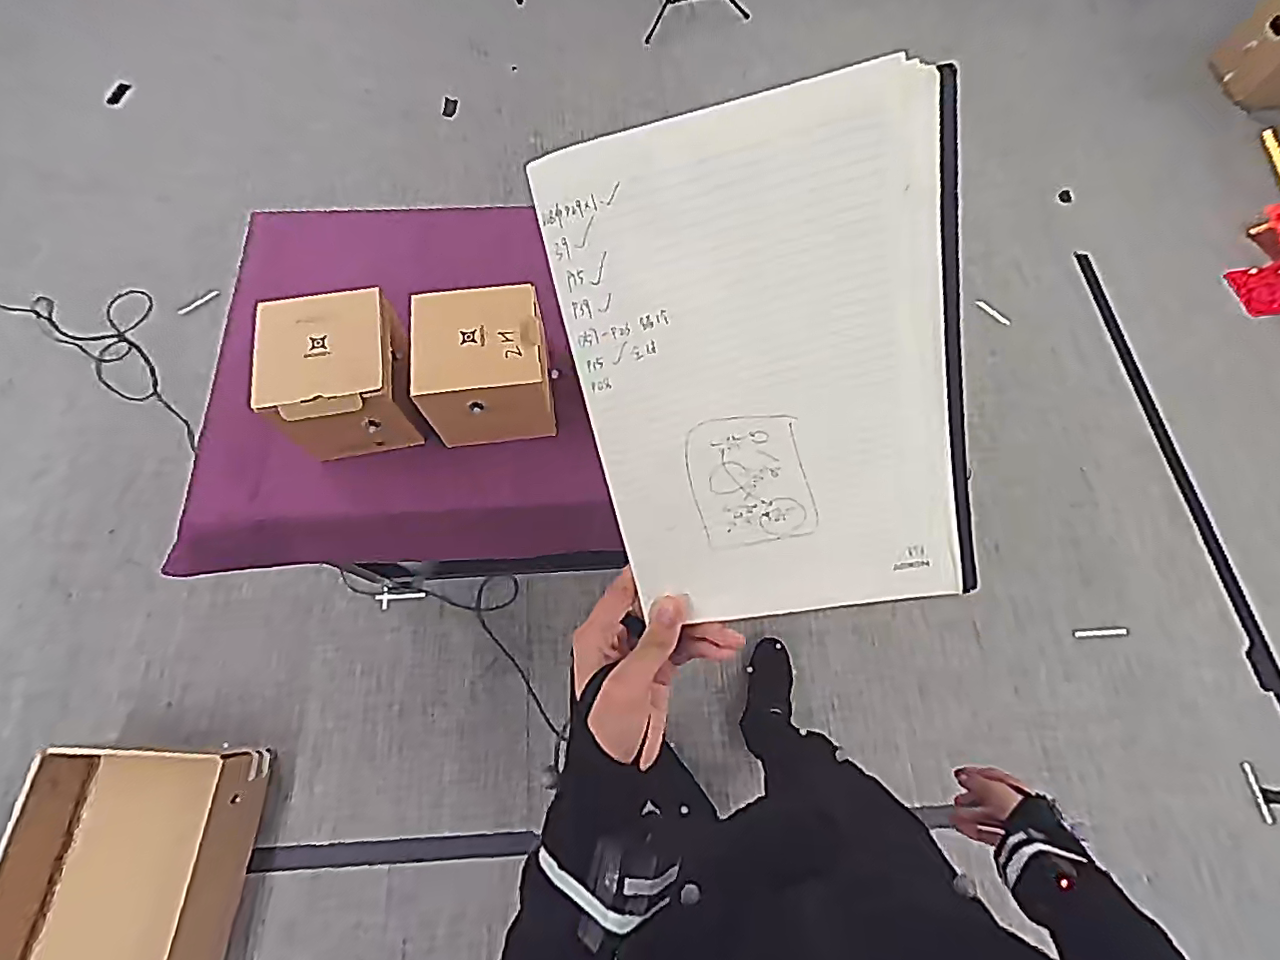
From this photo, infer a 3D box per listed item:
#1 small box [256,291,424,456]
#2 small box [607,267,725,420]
[{"bbox_3d":[-0.434,-0.148,0.807,0.168,0.176,0.179,-10,69,-6],"label":"small box"},{"bbox_3d":[0.035,-0.204,0.840,0.168,0.176,0.179,0,68,-2],"label":"small box"}]
